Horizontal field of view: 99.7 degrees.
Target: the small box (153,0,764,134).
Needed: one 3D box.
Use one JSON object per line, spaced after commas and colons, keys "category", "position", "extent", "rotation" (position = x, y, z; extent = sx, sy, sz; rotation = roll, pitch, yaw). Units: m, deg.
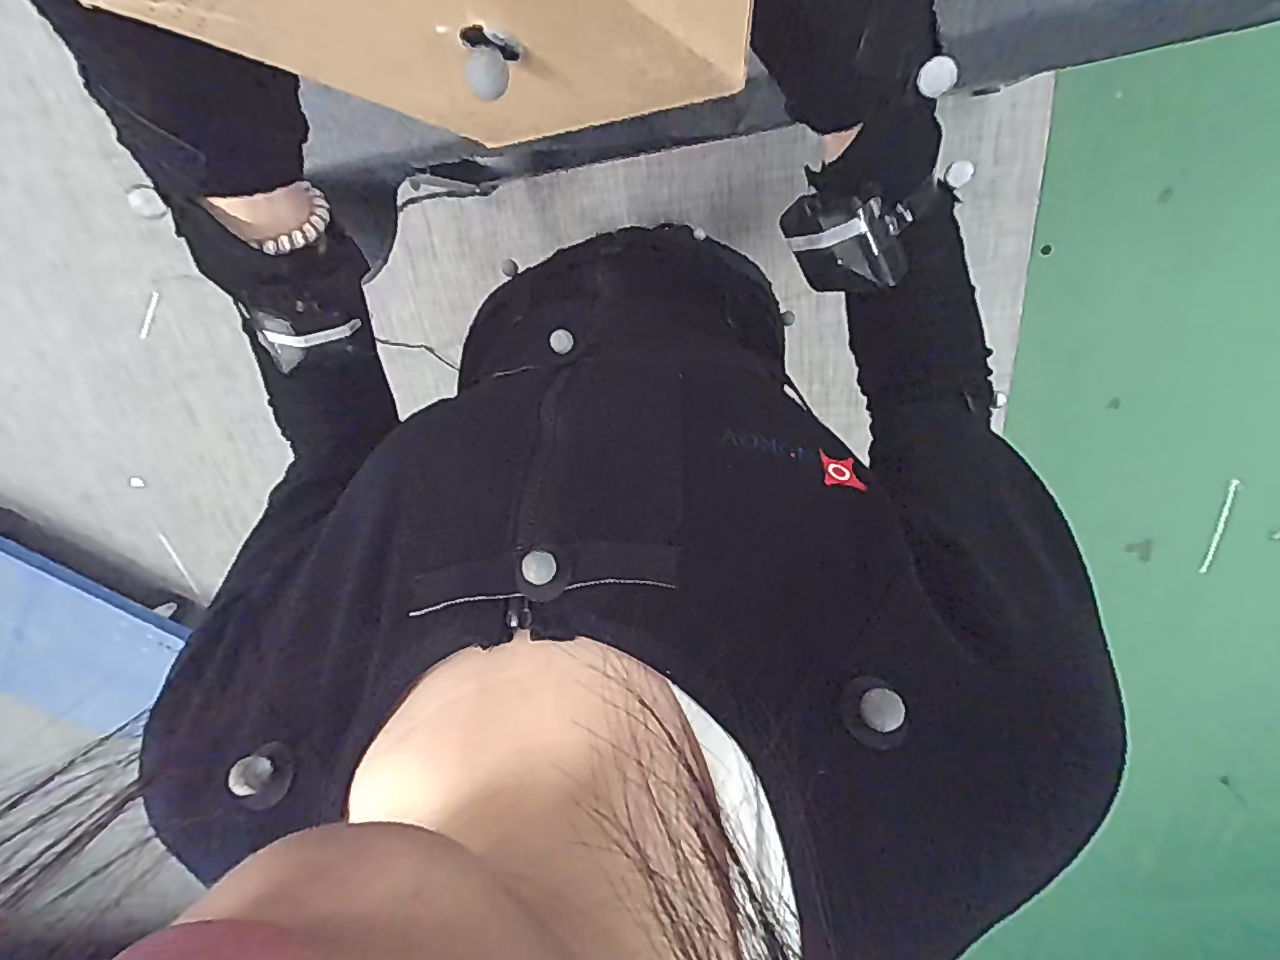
{"category": "small box", "position": [-0.065, -0.240, 0.167], "extent": [0.168, 0.176, 0.179], "rotation": [17, 112, 37]}
